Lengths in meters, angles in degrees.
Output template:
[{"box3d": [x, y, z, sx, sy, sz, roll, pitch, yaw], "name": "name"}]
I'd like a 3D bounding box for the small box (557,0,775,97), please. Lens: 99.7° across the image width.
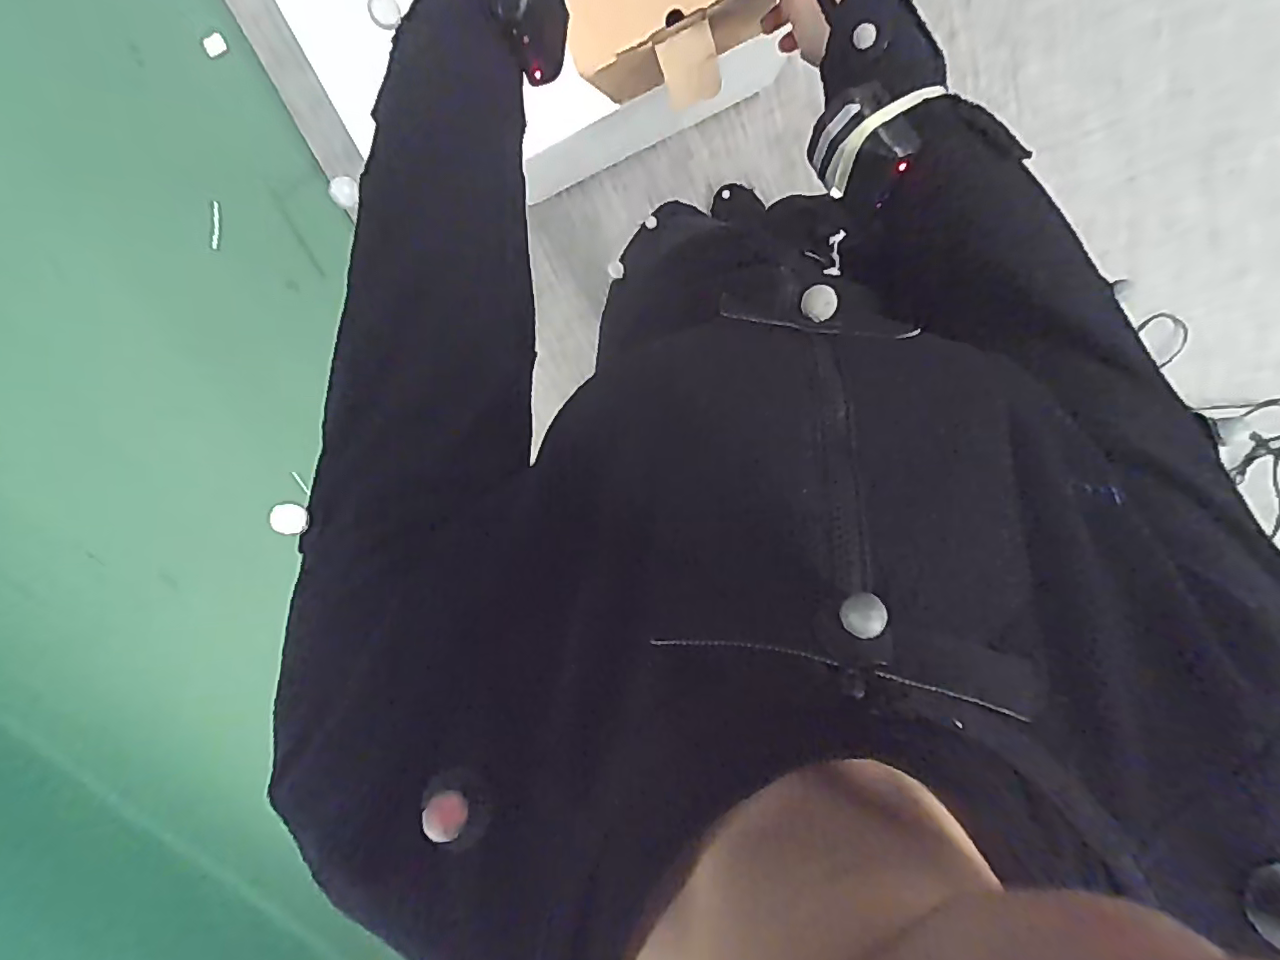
[{"box3d": [0.009, -0.451, 0.438, 0.168, 0.176, 0.179, -16, 115, 17], "name": "small box"}]
